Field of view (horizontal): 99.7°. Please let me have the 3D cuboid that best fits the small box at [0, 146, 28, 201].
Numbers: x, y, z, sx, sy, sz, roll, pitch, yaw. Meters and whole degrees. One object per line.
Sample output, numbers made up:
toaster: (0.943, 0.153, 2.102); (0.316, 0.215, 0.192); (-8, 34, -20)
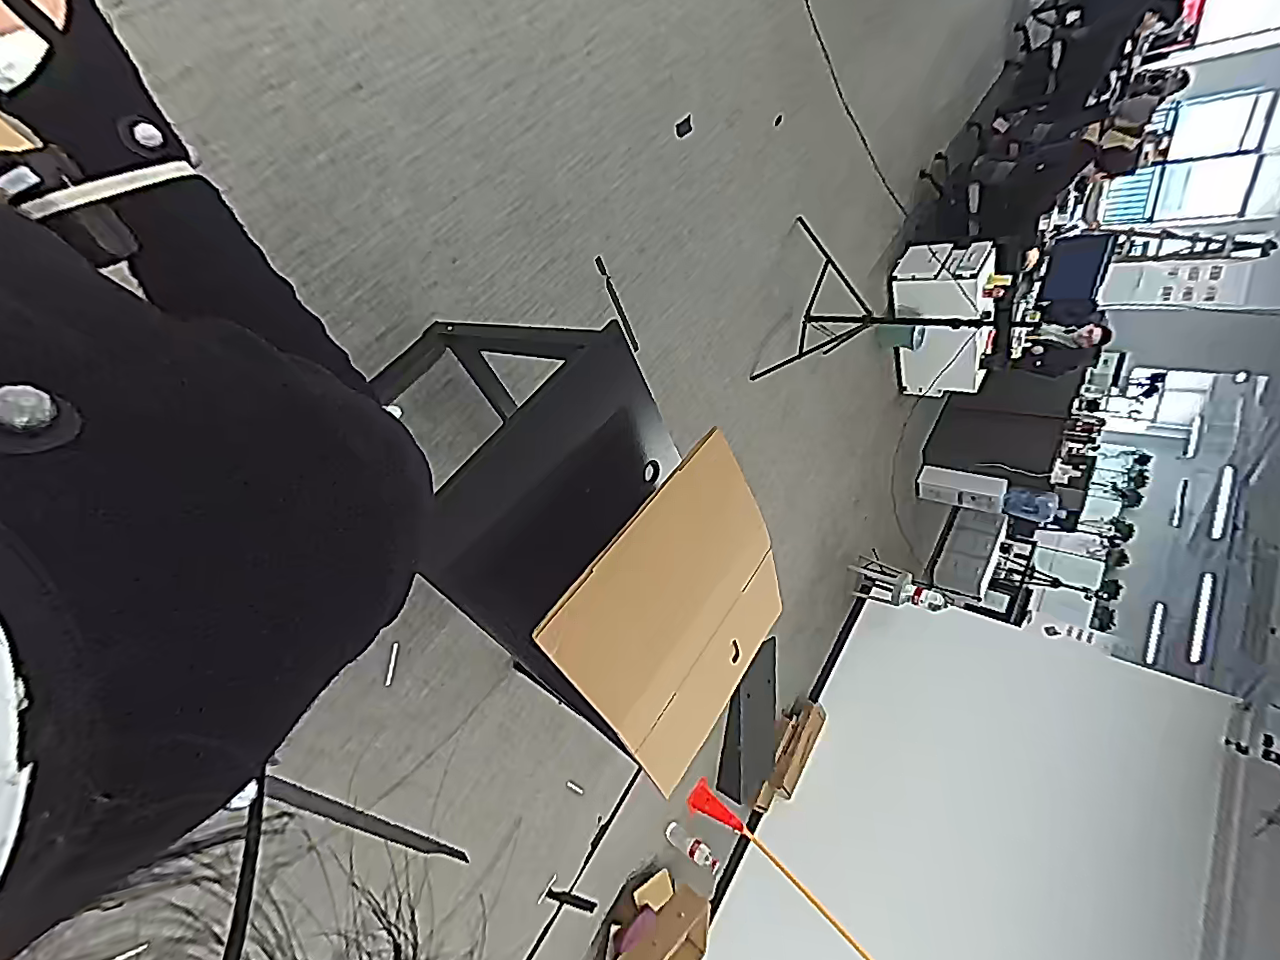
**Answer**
small box: (-1.110, -0.493, 0.823); (0.179, 0.176, 0.168); (-55, 136, -21)
